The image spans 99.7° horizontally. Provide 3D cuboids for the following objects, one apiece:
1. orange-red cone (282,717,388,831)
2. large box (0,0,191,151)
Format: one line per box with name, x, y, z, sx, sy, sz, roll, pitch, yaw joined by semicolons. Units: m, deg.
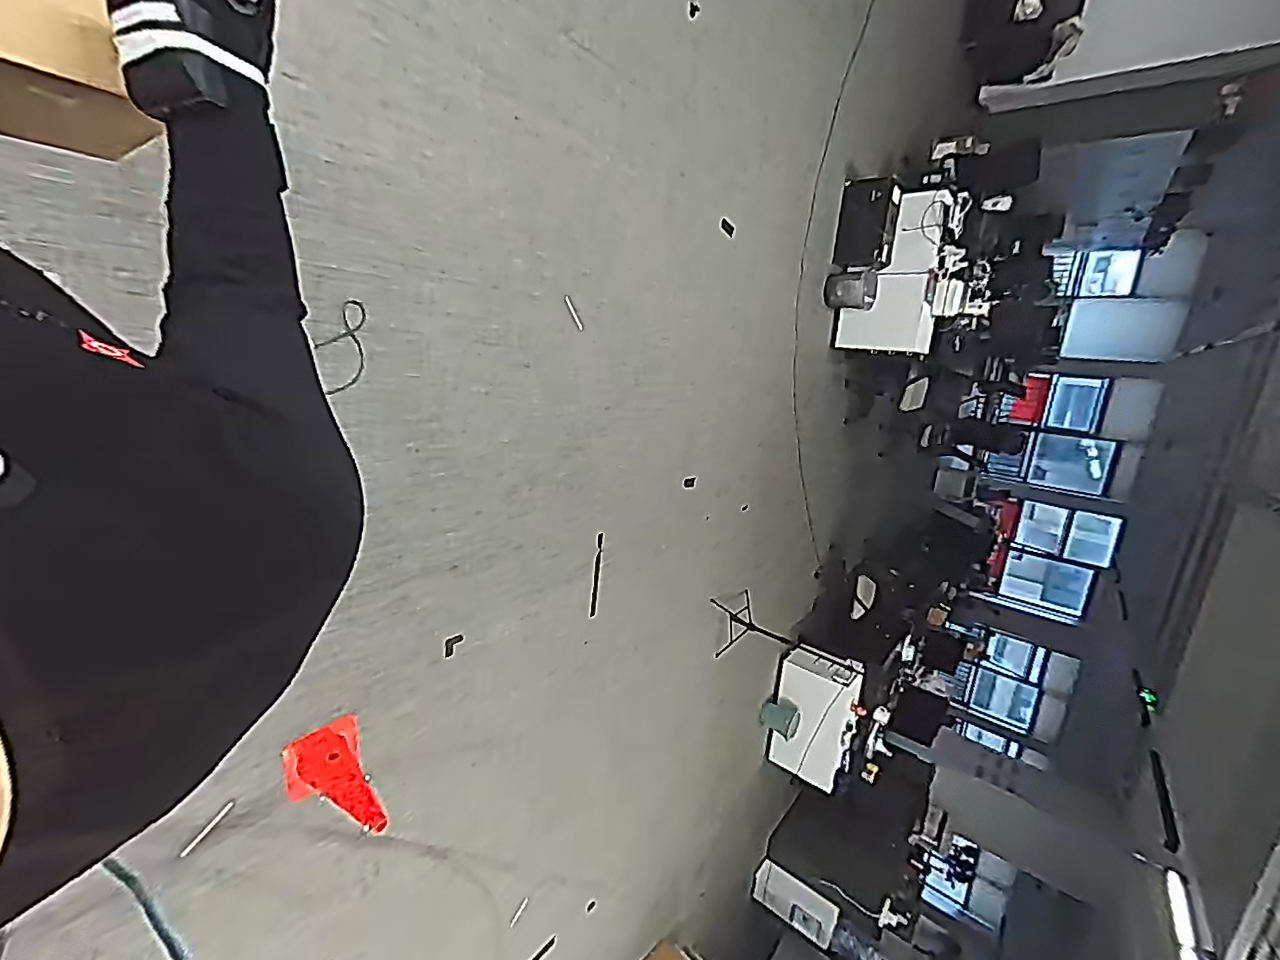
orange-red cone;-0.803;0.851;1.490;0.198;0.360;0.199;-15;112;-50
large box;-0.565;-0.436;0.306;0.408;0.320;0.320;-12;113;-51
